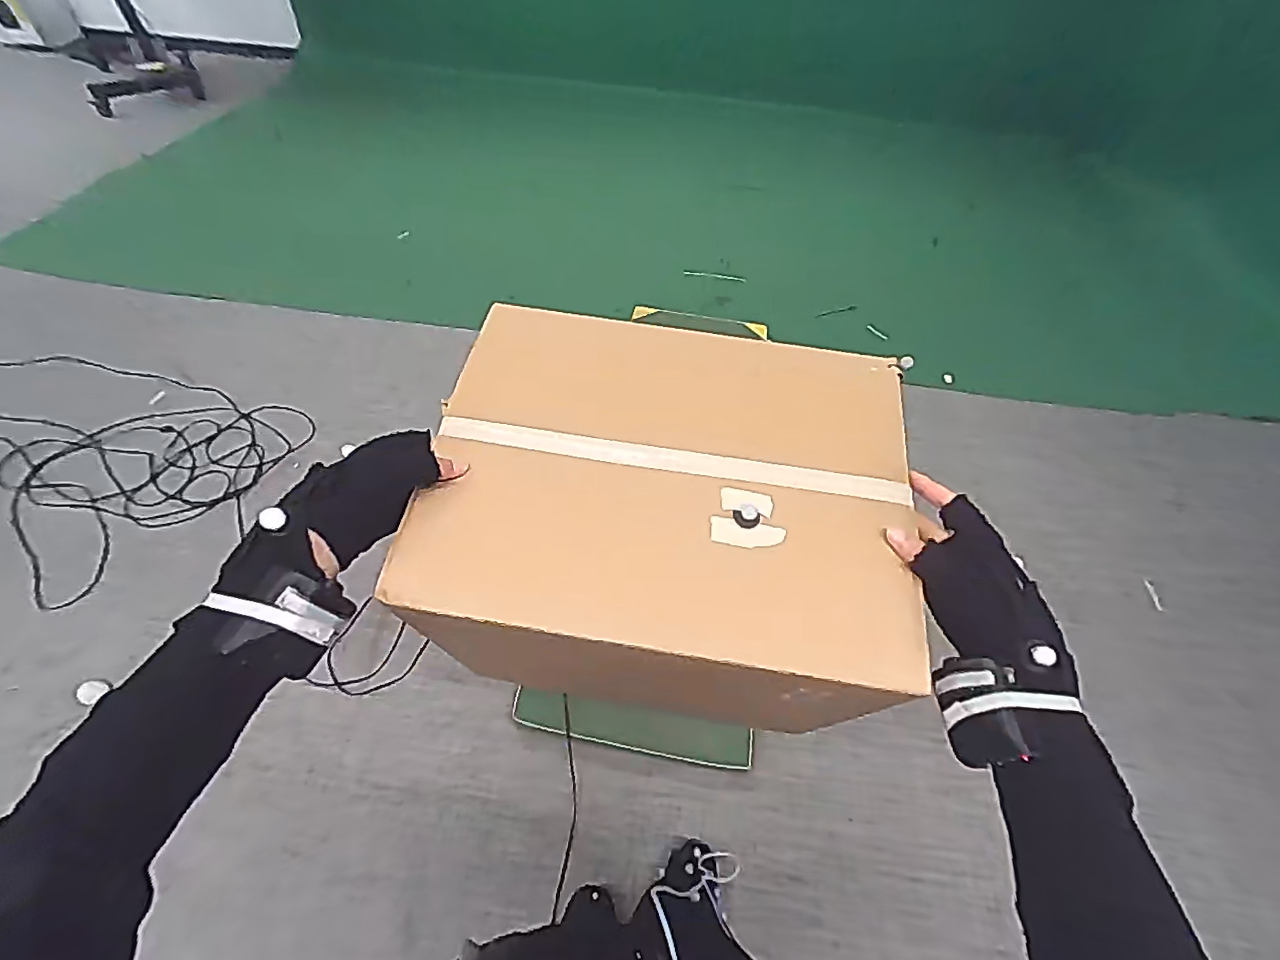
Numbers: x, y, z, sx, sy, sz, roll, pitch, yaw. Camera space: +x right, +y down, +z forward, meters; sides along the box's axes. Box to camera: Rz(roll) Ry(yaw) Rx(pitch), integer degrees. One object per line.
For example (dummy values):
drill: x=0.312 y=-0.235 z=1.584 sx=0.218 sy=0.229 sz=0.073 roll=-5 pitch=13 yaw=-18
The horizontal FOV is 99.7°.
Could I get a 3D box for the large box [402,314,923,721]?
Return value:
large box: x=0.026 y=0.060 z=0.604 sx=0.408 sy=0.320 sz=0.320 roll=9 pitch=61 yaw=2
